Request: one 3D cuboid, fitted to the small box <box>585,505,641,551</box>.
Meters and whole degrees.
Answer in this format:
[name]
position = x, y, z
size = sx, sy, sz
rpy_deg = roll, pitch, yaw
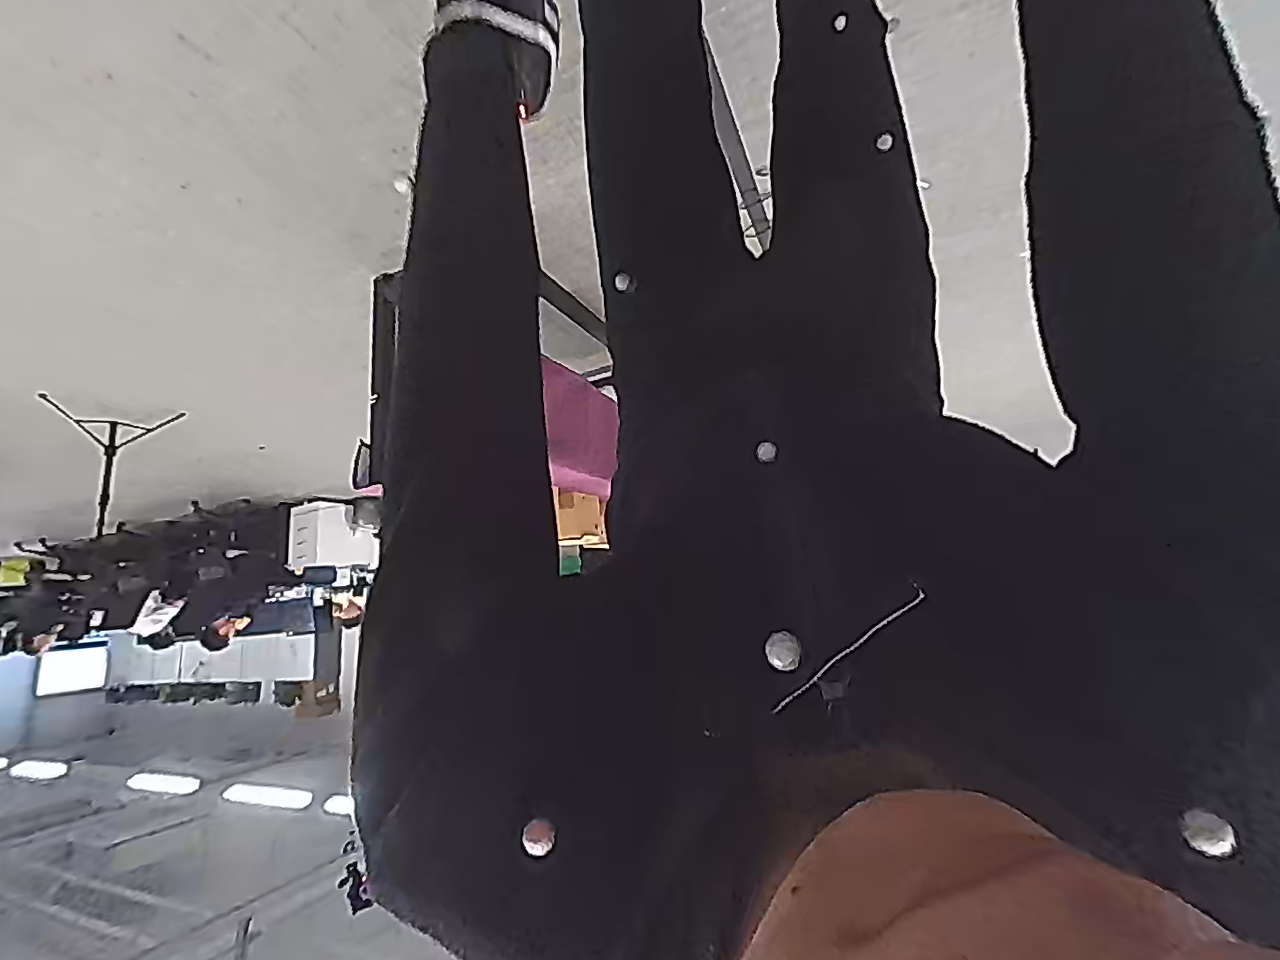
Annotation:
[small box]
position = -0.117, 0.203, 2.256
size = 0.179, 0.176, 0.168
rpy_deg = -13, 165, 33
